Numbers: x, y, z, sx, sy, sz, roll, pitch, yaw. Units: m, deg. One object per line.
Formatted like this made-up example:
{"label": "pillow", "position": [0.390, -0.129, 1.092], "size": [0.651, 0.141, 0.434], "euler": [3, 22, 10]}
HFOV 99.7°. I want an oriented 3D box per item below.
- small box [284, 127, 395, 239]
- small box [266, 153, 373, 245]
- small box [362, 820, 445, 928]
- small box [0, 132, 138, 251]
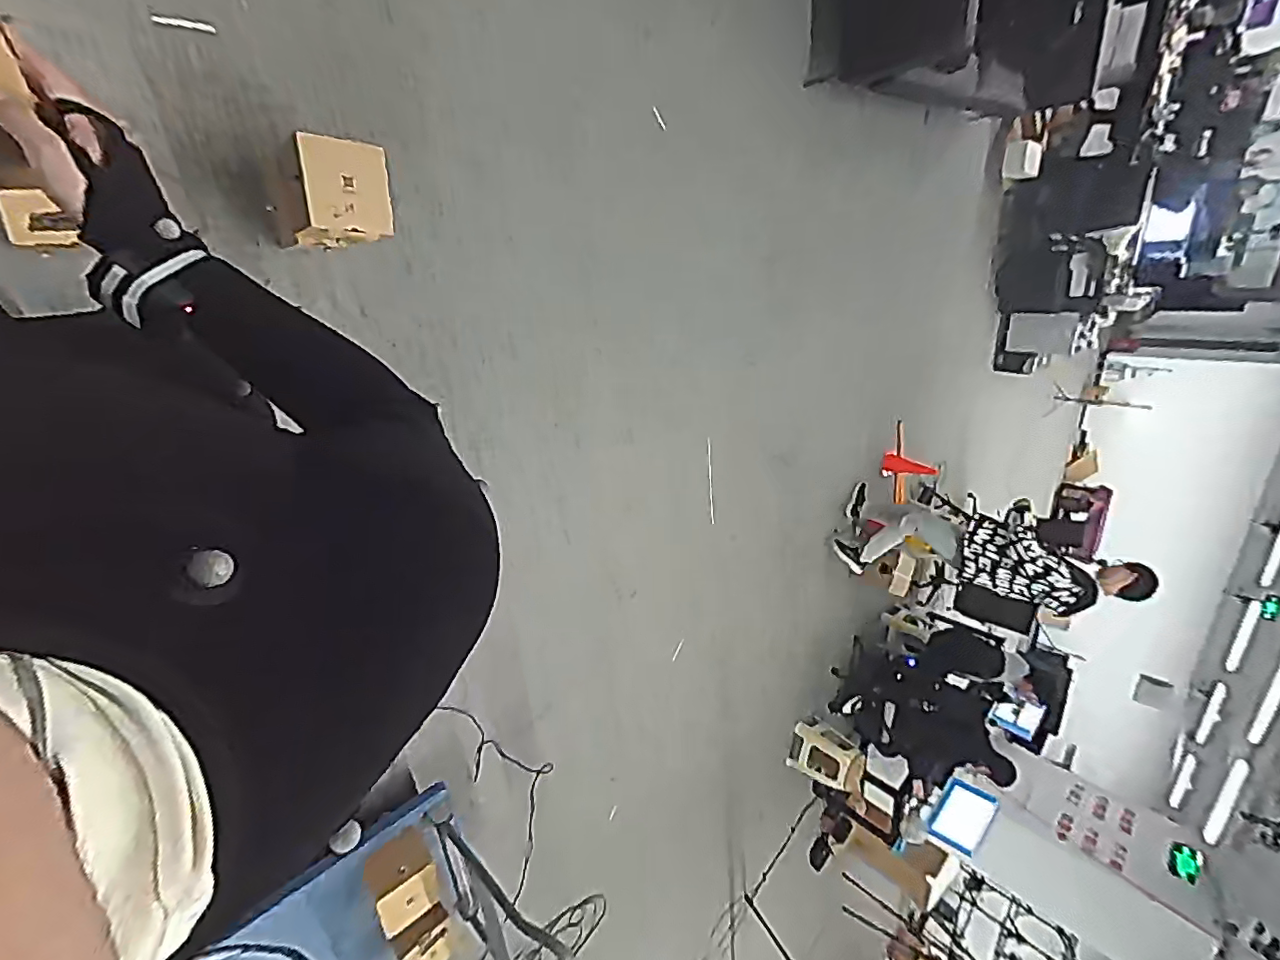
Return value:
{"label": "small box", "position": [-0.657, -0.636, 1.180], "size": [0.168, 0.176, 0.179], "euler": [-15, 113, -40]}
{"label": "small box", "position": [-0.768, -0.664, 1.298], "size": [0.168, 0.176, 0.179], "euler": [-21, 118, -39]}
{"label": "small box", "position": [-0.738, 1.219, 1.690], "size": [0.179, 0.176, 0.168], "euler": [-19, 116, -39]}
{"label": "small box", "position": [-1.099, -0.541, 1.039], "size": [0.168, 0.176, 0.179], "euler": [-18, 114, -41]}
